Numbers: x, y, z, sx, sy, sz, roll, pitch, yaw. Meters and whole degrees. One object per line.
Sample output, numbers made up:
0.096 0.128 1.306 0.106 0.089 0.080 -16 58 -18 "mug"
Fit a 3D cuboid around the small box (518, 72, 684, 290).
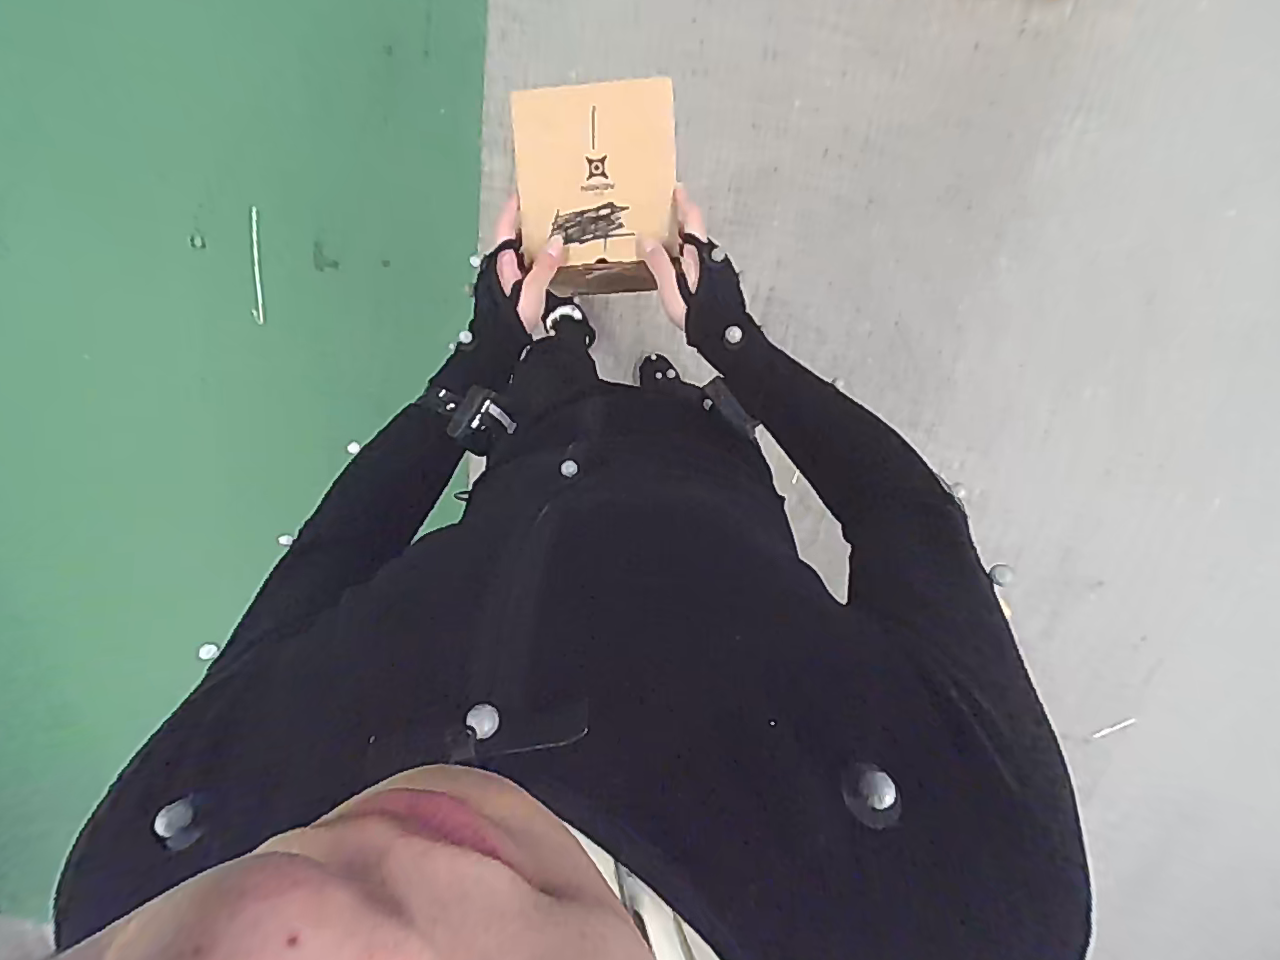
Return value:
-0.033 -0.323 0.624 0.168 0.176 0.179 -2 98 3 "small box"
